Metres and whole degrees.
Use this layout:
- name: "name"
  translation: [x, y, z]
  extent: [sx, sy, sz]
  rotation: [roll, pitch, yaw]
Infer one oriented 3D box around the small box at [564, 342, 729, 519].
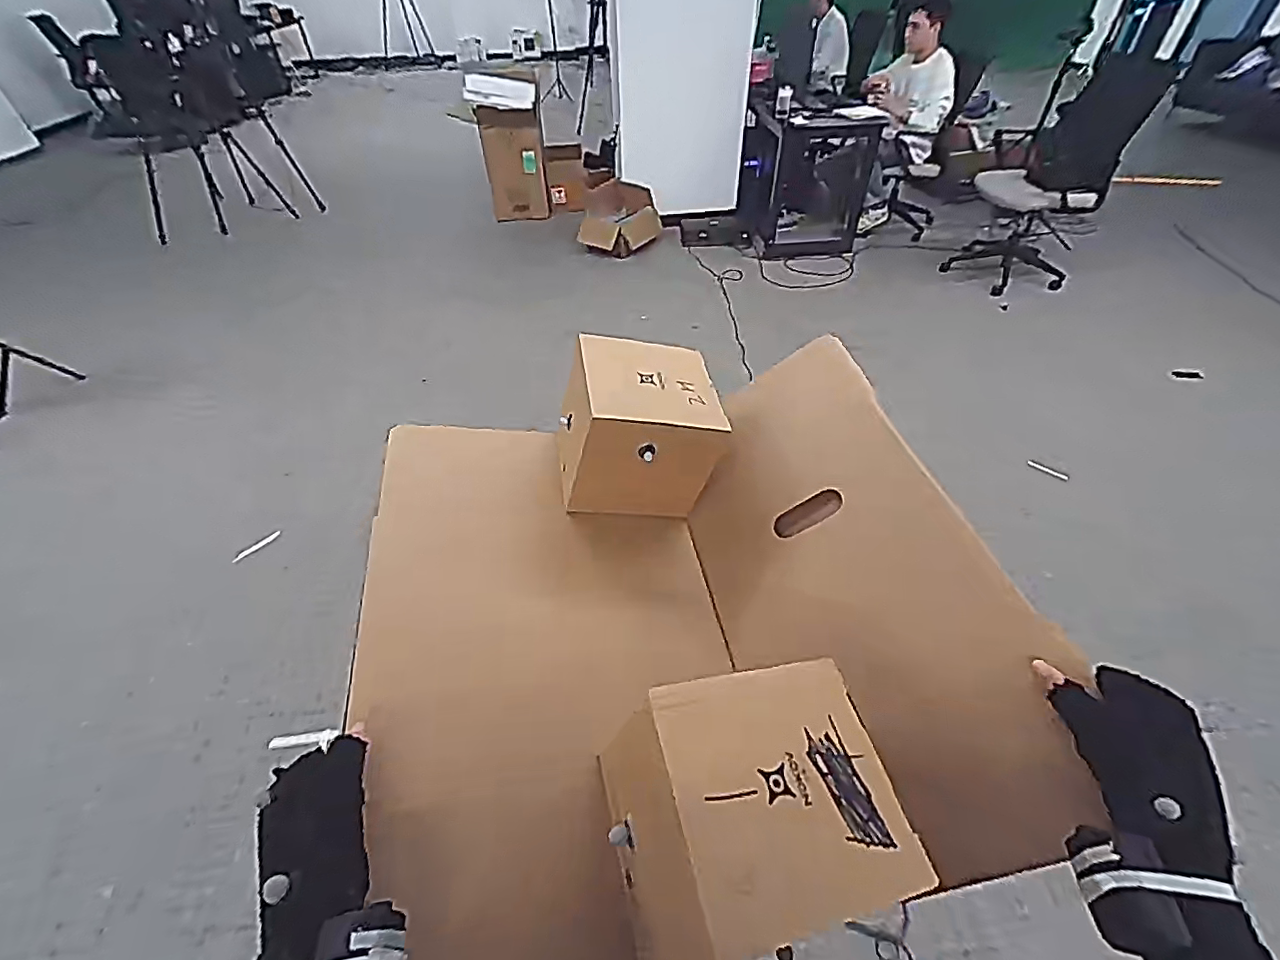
- name: "small box"
  translation: [-0.006, -0.061, 0.734]
  extent: [0.179, 0.176, 0.168]
  rotation: [5, 47, -18]
